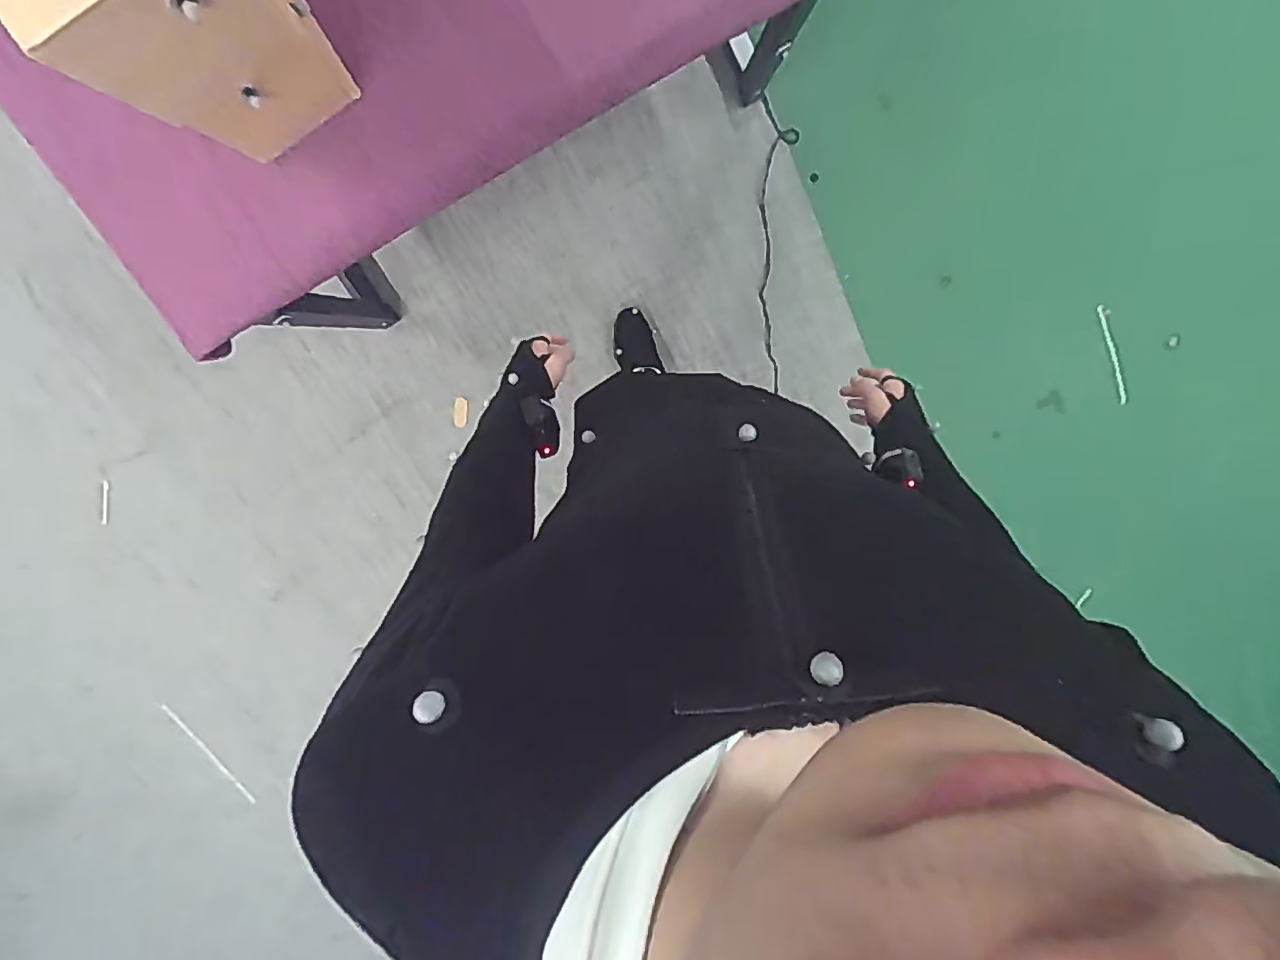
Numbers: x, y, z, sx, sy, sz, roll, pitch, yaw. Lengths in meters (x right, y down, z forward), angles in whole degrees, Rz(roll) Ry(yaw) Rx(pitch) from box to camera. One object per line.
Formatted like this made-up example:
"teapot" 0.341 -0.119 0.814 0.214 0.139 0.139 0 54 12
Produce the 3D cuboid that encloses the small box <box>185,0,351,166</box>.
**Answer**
"small box" -0.490 -0.526 0.659 0.179 0.176 0.168 -30 104 6
